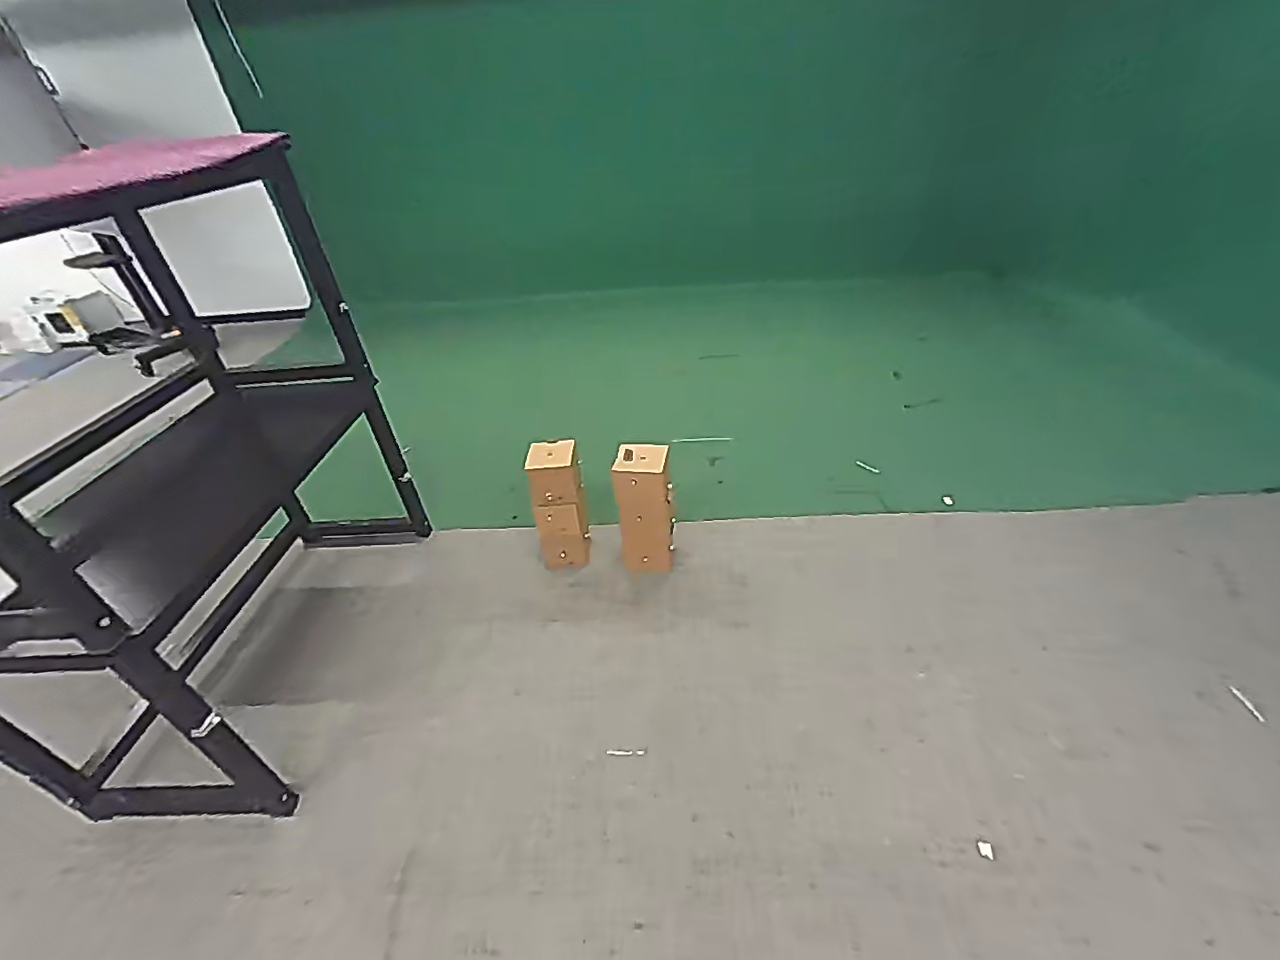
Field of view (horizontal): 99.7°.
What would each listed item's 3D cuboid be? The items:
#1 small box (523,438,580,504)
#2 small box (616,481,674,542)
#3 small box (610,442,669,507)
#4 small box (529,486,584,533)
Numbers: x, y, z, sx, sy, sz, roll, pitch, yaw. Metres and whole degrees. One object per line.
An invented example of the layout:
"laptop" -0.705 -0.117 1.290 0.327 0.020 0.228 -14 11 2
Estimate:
"small box" -0.317 -0.032 1.971 0.168 0.176 0.179 -6 36 2
"small box" 0.023 0.112 2.001 0.179 0.176 0.168 4 39 13
"small box" 0.004 -0.018 1.903 0.179 0.176 0.168 3 38 11
"small box" -0.315 0.091 2.079 0.168 0.176 0.179 -3 35 4
